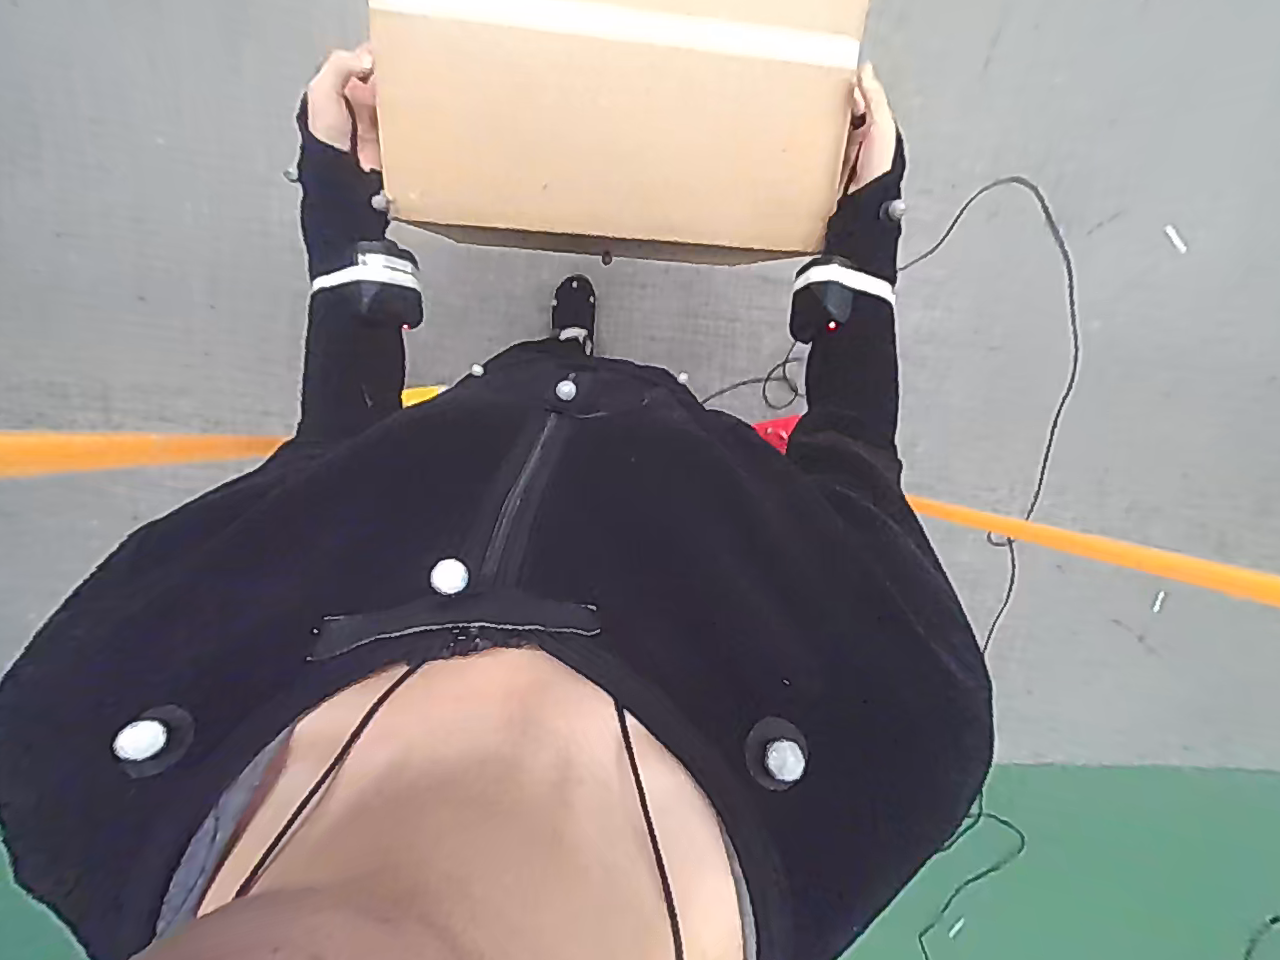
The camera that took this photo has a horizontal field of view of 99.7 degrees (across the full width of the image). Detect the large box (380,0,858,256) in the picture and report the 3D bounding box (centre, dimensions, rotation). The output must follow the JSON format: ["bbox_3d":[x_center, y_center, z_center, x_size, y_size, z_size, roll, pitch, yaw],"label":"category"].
[{"bbox_3d":[-0.026,-0.424,0.595,0.408,0.320,0.320,1,109,-7],"label":"large box"}]
